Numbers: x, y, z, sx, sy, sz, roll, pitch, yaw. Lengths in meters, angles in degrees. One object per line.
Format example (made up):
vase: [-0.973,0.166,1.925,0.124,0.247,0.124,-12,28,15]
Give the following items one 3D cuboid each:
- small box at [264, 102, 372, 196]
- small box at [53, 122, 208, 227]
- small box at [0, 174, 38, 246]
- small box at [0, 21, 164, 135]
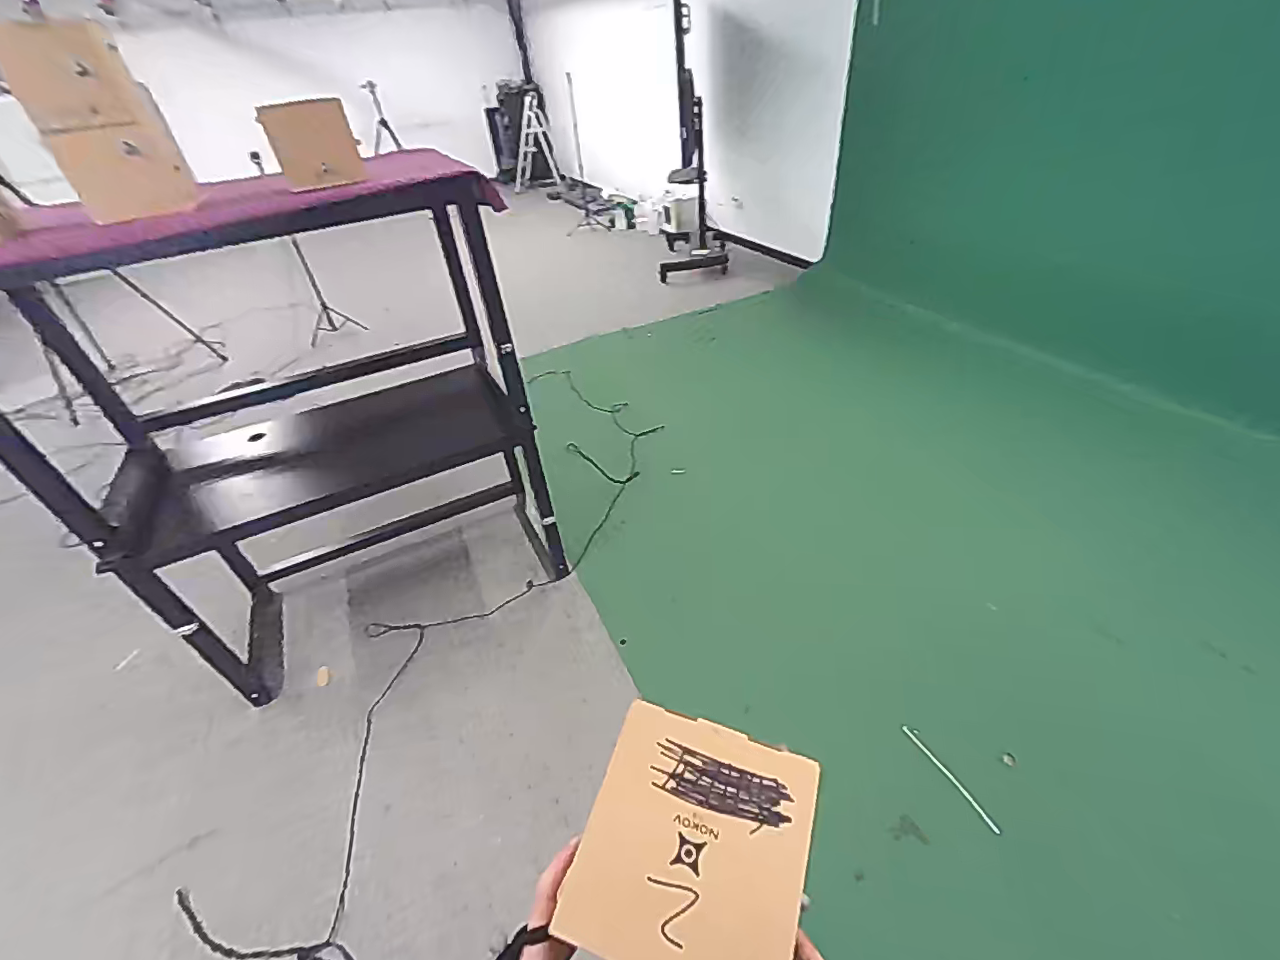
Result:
small box: [-0.759,-0.793,1.293,0.179,0.176,0.168,-20,38,-18]
small box: [-1.093,-0.669,1.182,0.179,0.176,0.168,-21,39,-17]
small box: [-1.382,-0.551,1.071,0.179,0.176,0.168,-22,41,-21]
small box: [-1.111,-0.801,1.088,0.168,0.176,0.179,-20,39,-18]
